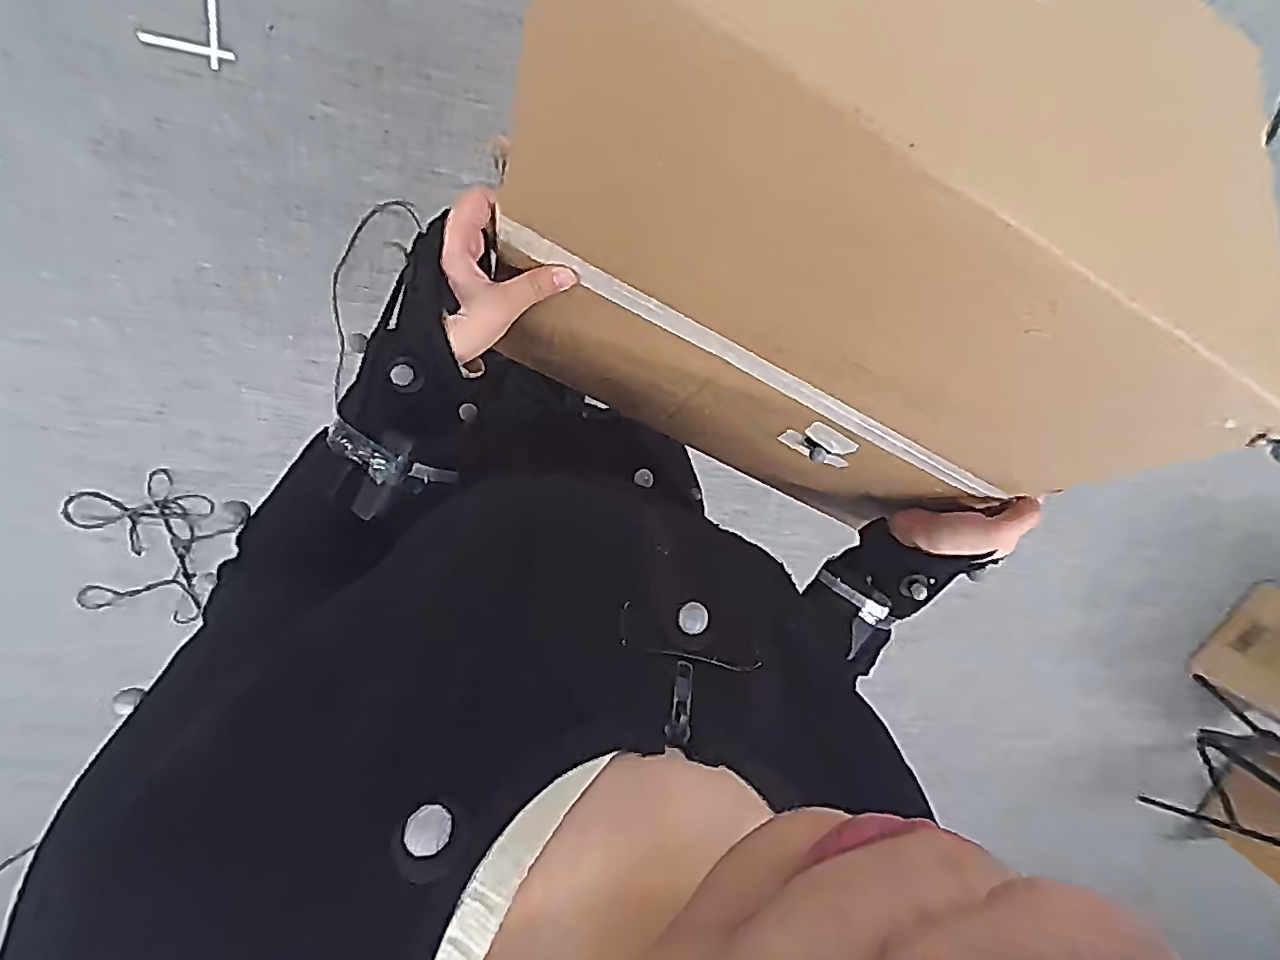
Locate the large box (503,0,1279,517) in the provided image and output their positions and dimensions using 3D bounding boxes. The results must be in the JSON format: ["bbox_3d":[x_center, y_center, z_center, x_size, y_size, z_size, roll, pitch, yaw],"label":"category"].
[{"bbox_3d":[0.158,-0.214,0.390,0.408,0.320,0.320,24,69,-12],"label":"large box"}]
